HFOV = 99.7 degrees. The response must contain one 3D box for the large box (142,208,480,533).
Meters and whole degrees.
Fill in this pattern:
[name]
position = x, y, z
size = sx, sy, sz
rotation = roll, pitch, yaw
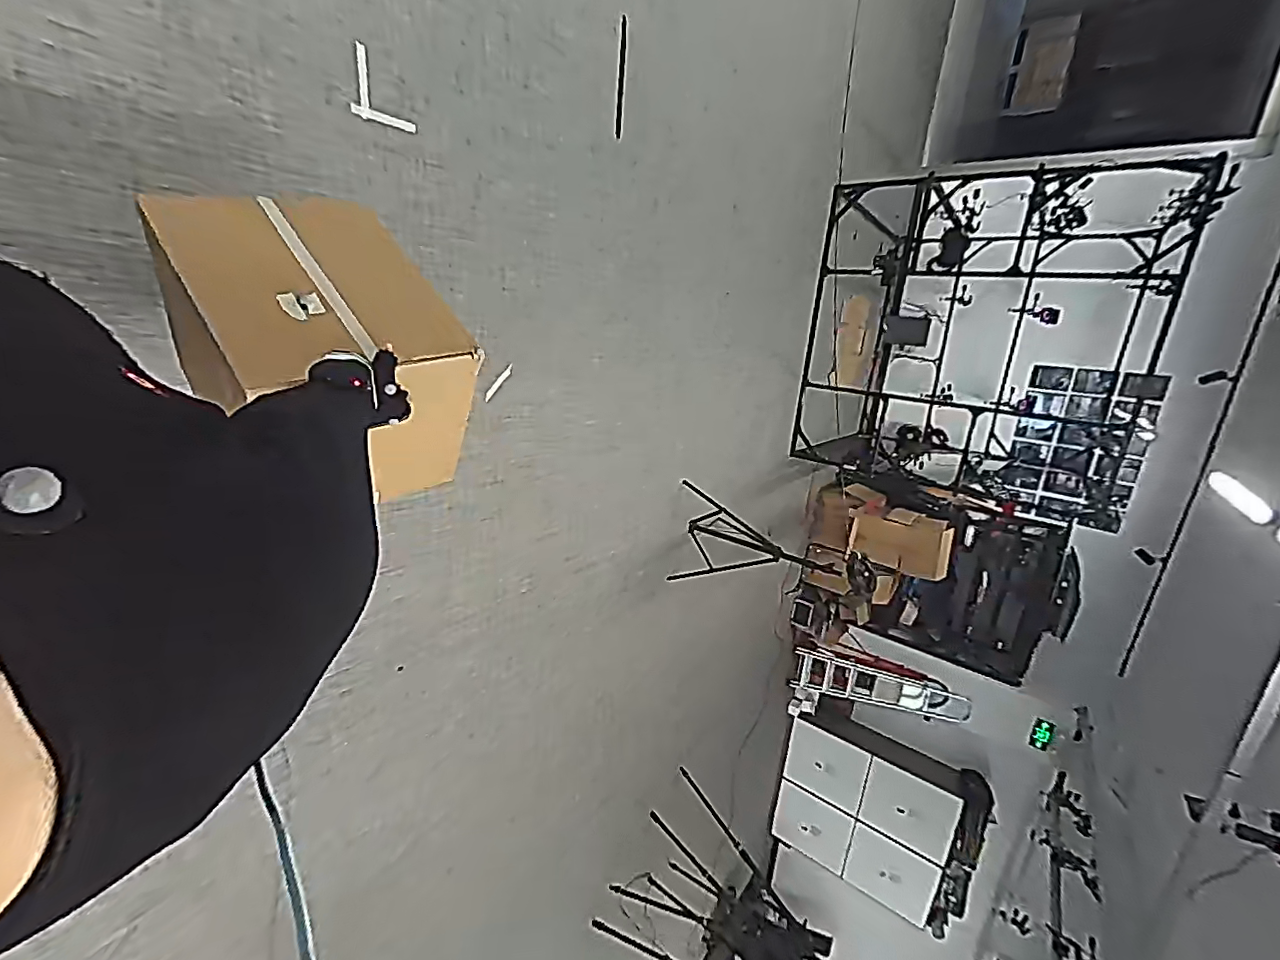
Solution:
[large box]
position = -0.535, -0.191, 0.904
size = 0.320, 0.408, 0.320
rotation = -25, 157, -41
